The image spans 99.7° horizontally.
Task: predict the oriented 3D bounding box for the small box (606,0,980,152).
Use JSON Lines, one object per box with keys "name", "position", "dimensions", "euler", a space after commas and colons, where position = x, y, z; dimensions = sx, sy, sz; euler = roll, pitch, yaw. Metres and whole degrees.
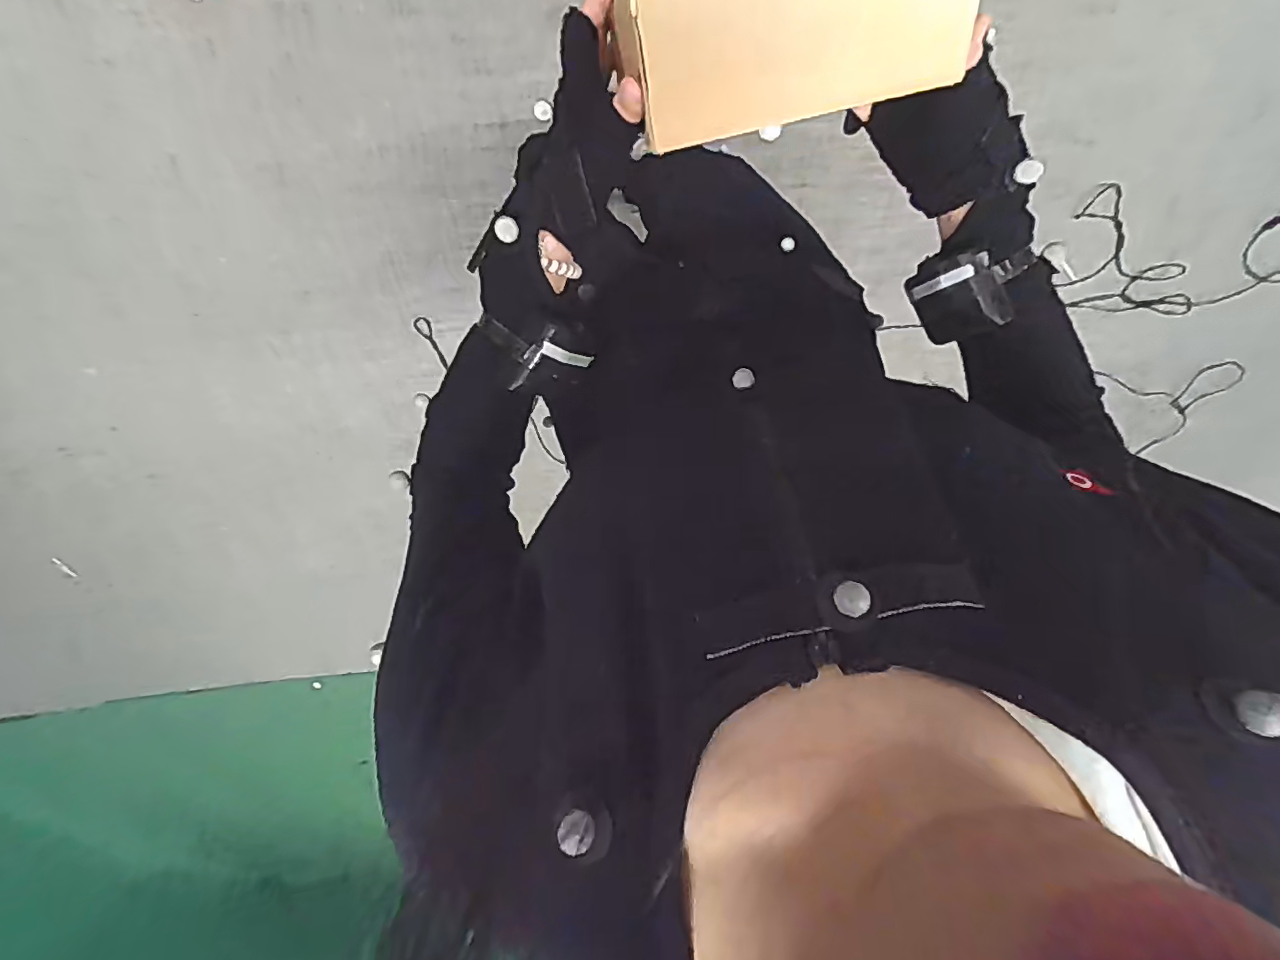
{"name": "small box", "position": [0.067, -0.310, 0.294], "dimensions": [0.179, 0.176, 0.168], "euler": [-12, 135, 3]}
